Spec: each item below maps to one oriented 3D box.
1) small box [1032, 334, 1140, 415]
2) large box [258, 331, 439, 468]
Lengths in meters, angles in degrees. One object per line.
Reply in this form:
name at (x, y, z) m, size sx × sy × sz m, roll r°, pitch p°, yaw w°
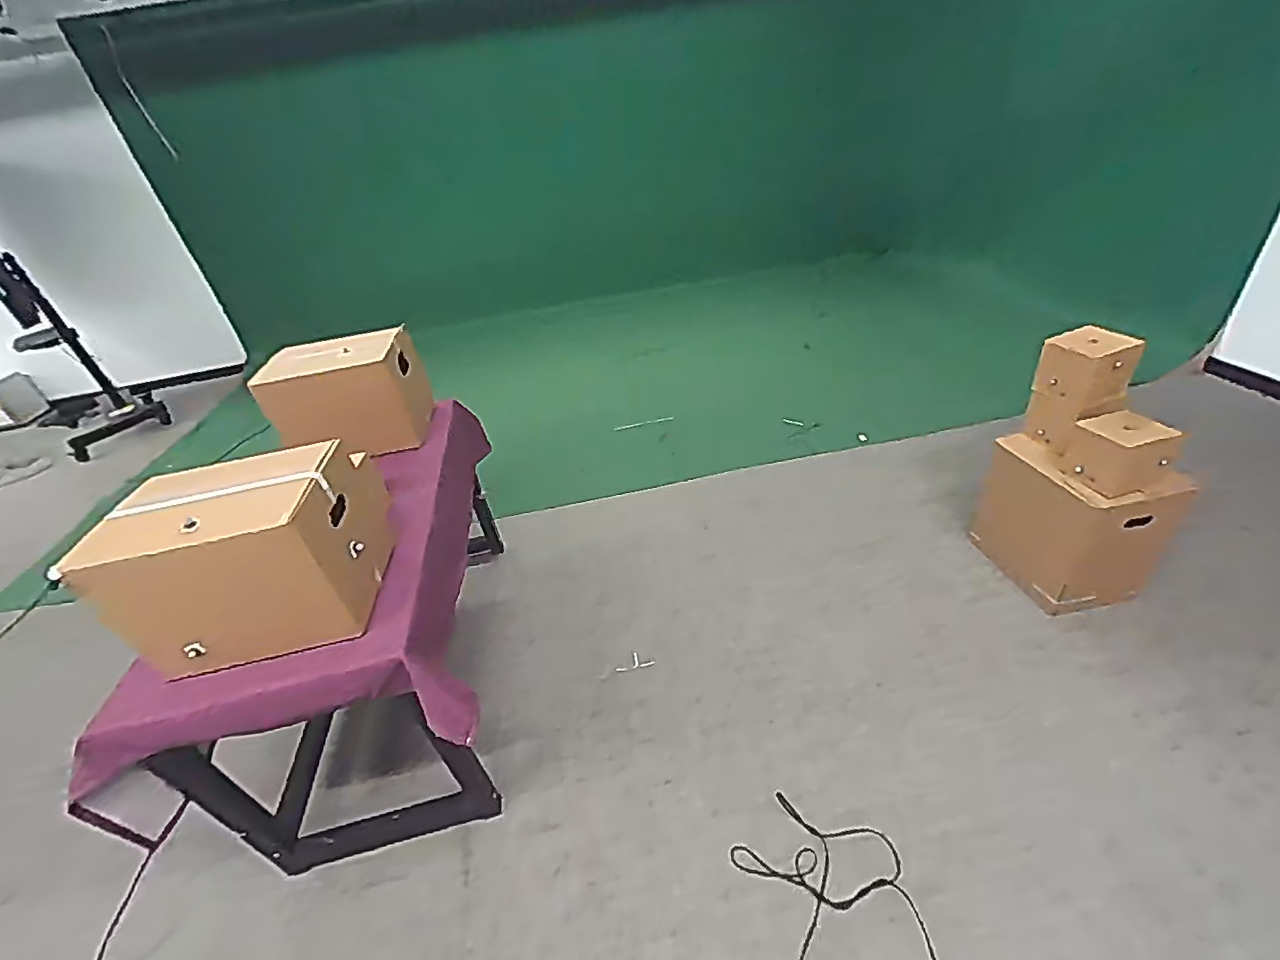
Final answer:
small box at (1.353, -0.324, 1.656) m, size 0.179 × 0.176 × 0.168 m, roll -18°, pitch 36°, yaw -10°
large box at (-0.941, -0.272, 1.806) m, size 0.408 × 0.320 × 0.320 m, roll -10°, pitch 35°, yaw -3°
